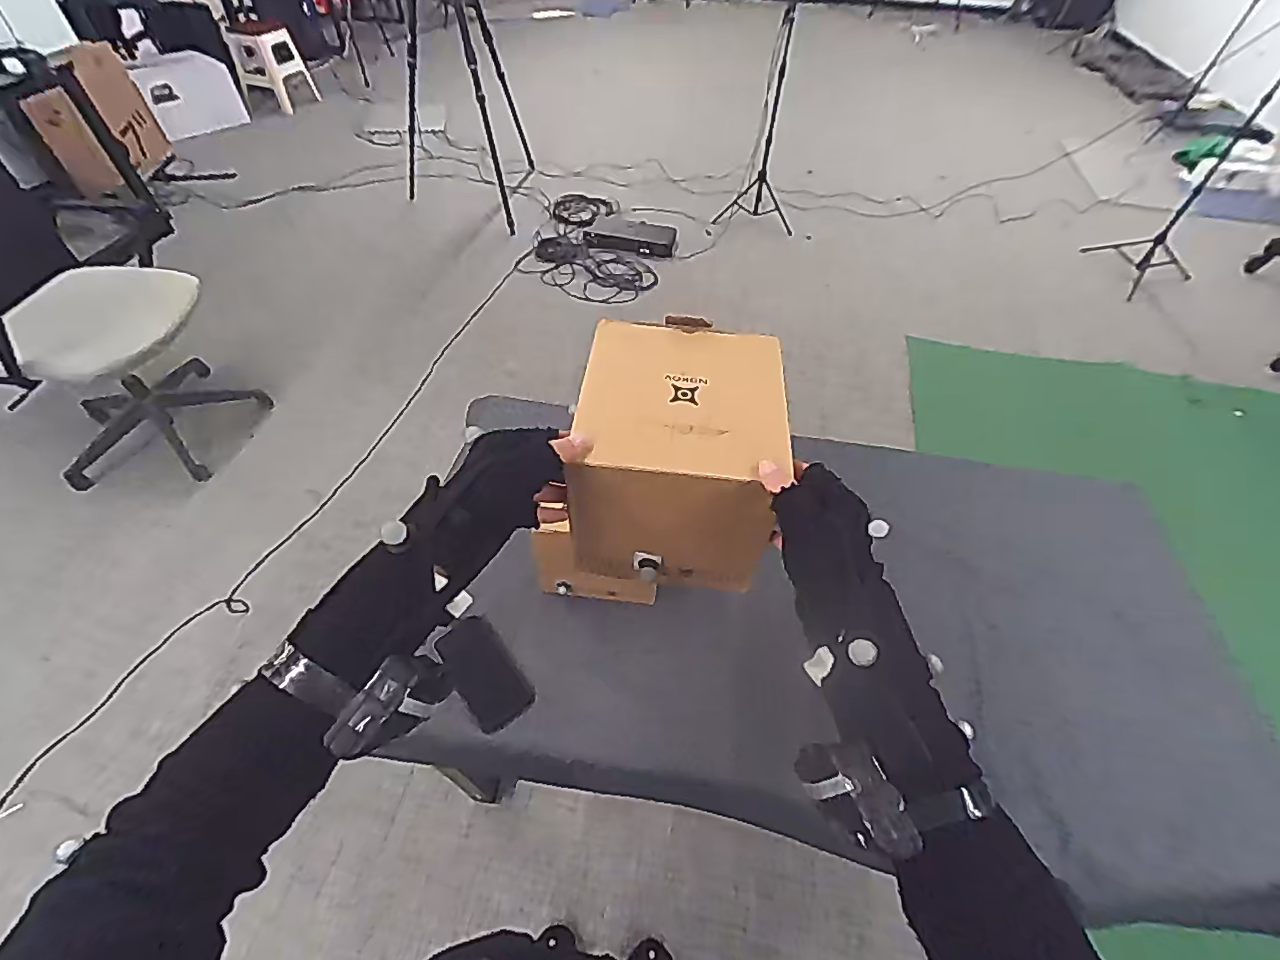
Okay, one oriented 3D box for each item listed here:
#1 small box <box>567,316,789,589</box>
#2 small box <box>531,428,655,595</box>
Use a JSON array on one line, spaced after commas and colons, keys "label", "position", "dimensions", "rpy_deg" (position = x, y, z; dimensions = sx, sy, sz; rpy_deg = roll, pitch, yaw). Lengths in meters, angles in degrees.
[{"label": "small box", "position": [0.030, -0.022, 0.501], "dimensions": [0.168, 0.176, 0.179], "rpy_deg": [7, 52, 1]}, {"label": "small box", "position": [-0.050, 0.050, 0.794], "dimensions": [0.168, 0.176, 0.179], "rpy_deg": [6, 50, 2]}]
